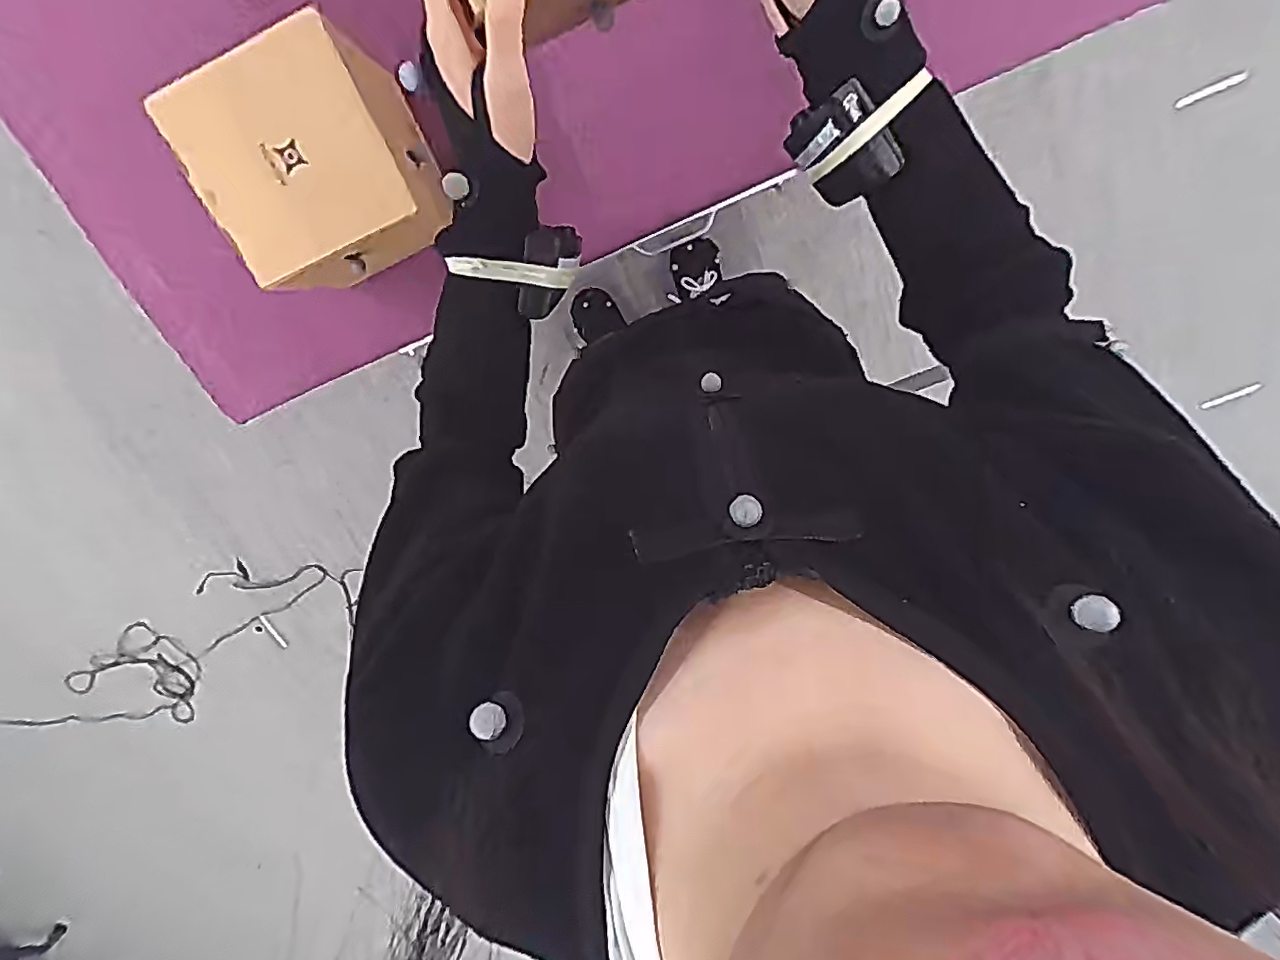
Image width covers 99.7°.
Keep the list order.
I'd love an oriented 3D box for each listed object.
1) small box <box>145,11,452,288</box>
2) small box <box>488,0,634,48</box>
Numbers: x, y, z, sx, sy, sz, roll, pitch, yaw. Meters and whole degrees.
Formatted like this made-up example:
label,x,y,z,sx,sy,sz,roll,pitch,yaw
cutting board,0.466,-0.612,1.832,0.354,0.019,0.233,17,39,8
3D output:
label,x,y,z,sx,sy,sz,roll,pitch,yaw
small box,-0.315,-0.313,0.551,0.179,0.176,0.168,-22,110,8
small box,-0.048,-0.396,0.312,0.168,0.176,0.179,-20,121,7
